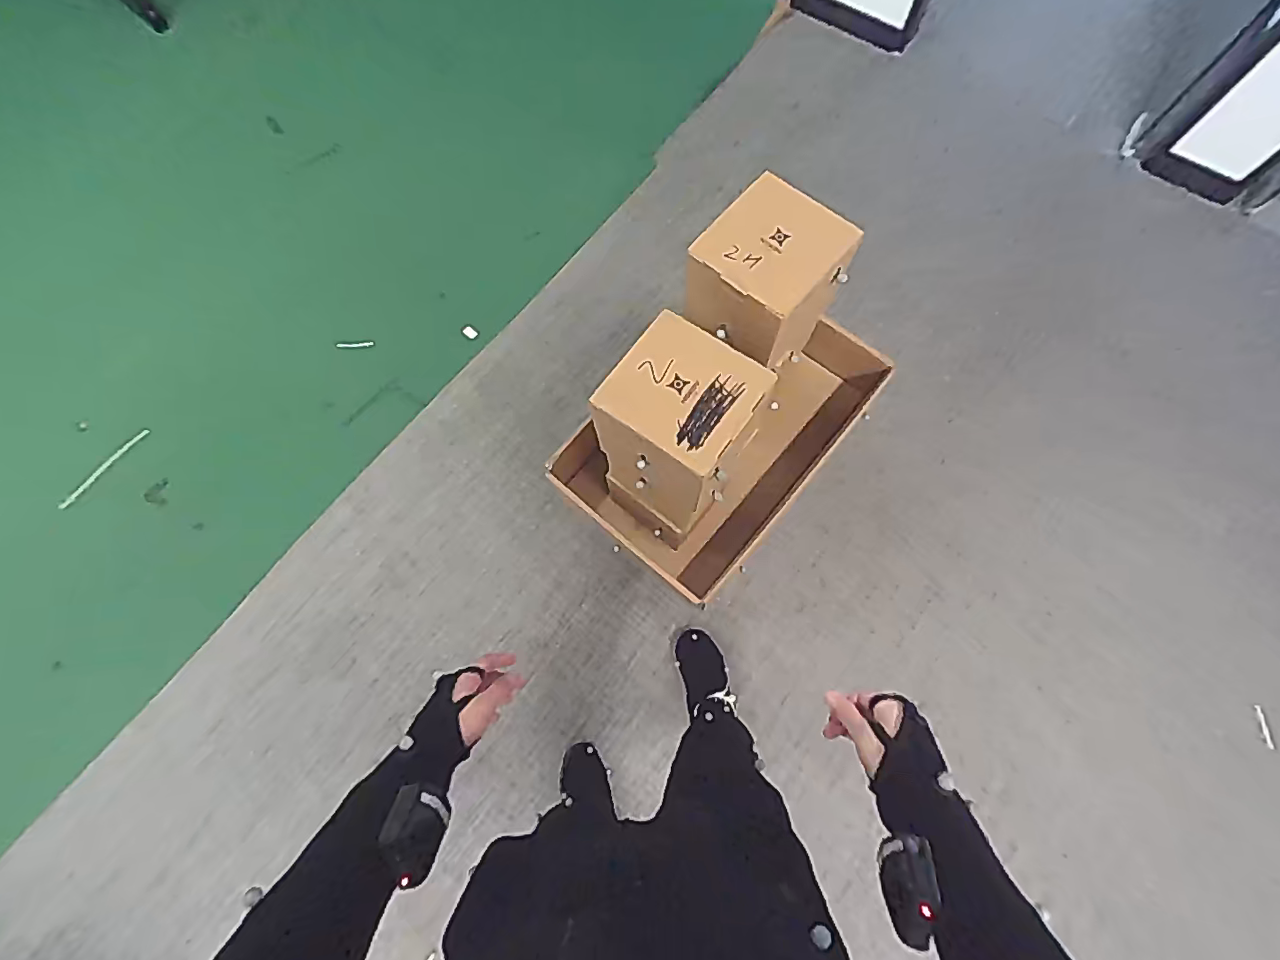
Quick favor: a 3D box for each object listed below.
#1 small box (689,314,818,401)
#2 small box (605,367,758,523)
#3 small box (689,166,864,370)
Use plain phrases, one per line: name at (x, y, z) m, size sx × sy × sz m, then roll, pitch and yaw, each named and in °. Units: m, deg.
small box at (0.201, -0.267, 0.949) m, size 0.168 × 0.176 × 0.179 m, roll 33°, pitch 80°, yaw 11°
small box at (0.065, -0.046, 0.892) m, size 0.179 × 0.176 × 0.168 m, roll 37°, pitch 77°, yaw 12°
small box at (0.182, -0.298, 0.787) m, size 0.168 × 0.176 × 0.179 m, roll 41°, pitch 81°, yaw 13°
